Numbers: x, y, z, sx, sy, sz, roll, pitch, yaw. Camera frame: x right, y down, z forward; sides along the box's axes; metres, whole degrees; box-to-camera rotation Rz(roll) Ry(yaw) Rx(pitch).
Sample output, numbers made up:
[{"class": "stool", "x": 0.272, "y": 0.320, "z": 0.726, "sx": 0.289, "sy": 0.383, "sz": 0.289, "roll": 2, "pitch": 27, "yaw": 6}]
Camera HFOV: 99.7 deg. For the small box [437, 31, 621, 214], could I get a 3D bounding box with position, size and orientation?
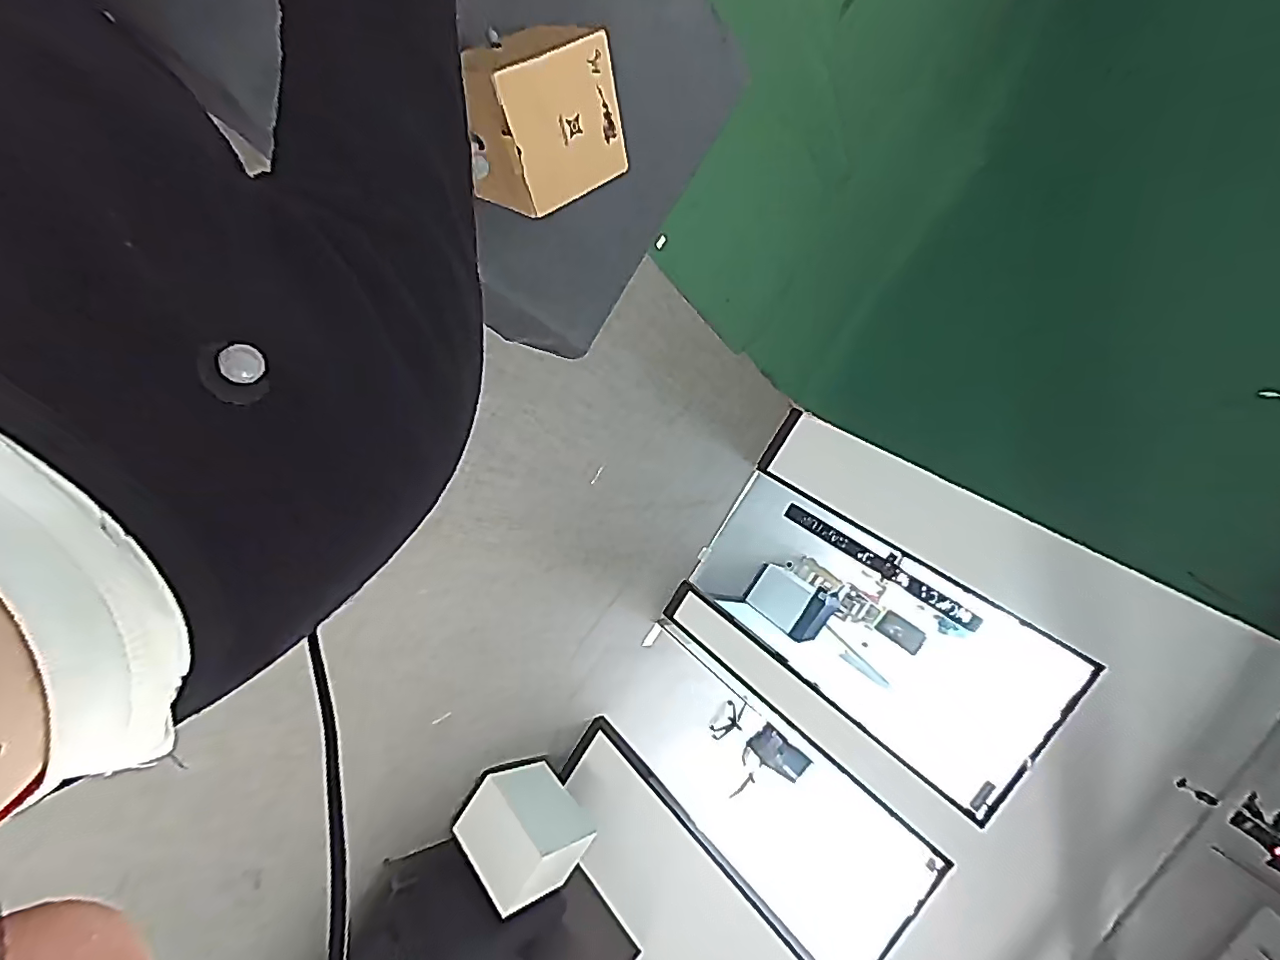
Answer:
[{"class": "small box", "x": -0.155, "y": -0.499, "z": 0.752, "sx": 0.179, "sy": 0.176, "sz": 0.168, "roll": -38, "pitch": 143, "yaw": -21}]
